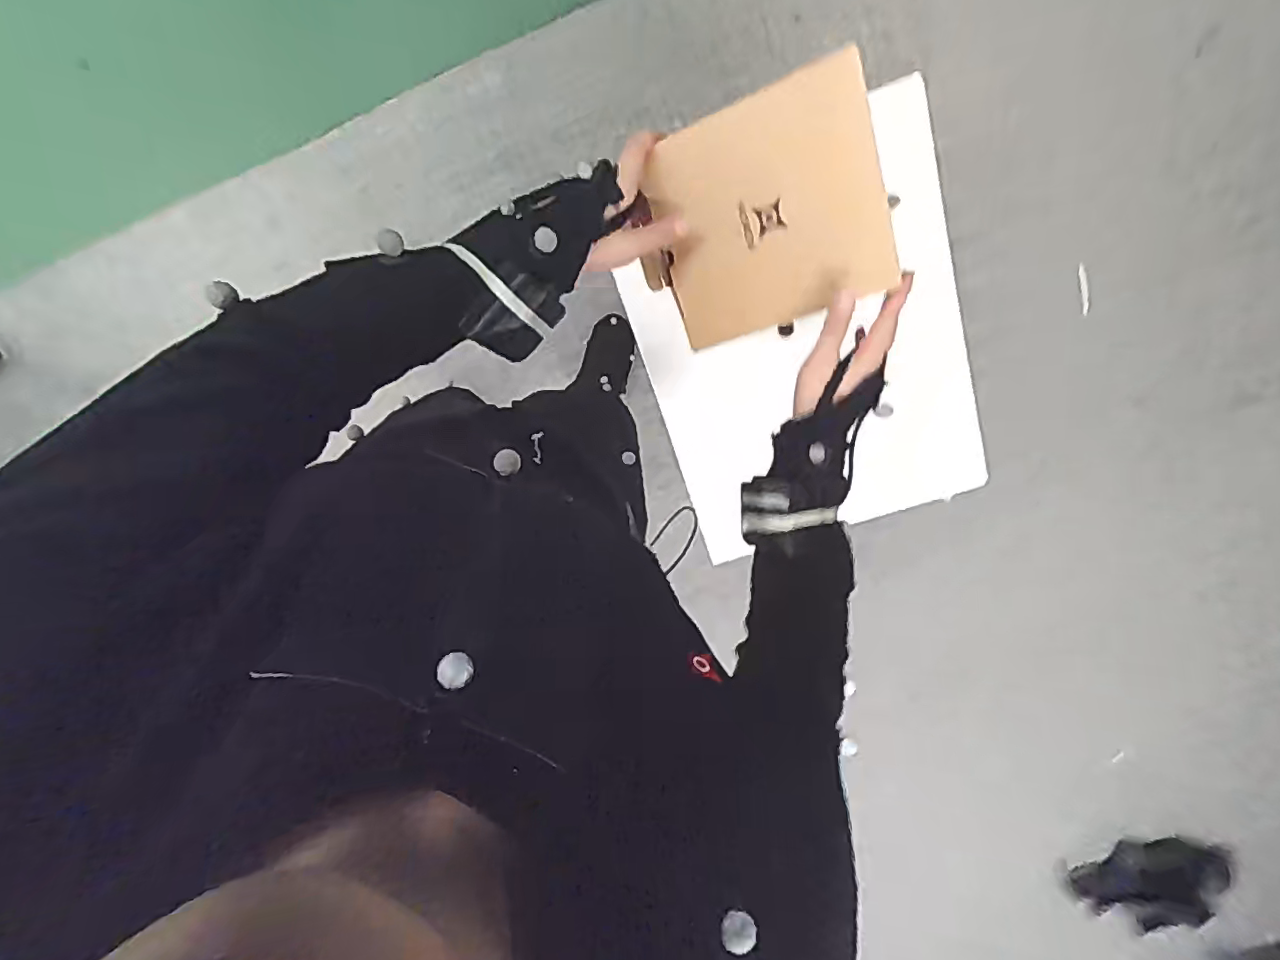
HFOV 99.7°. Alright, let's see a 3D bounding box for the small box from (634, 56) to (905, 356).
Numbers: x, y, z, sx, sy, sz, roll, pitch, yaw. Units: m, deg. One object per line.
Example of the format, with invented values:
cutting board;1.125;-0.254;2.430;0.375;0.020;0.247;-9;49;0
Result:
small box;0.121;-0.232;0.486;0.179;0.176;0.168;-12;111;25
